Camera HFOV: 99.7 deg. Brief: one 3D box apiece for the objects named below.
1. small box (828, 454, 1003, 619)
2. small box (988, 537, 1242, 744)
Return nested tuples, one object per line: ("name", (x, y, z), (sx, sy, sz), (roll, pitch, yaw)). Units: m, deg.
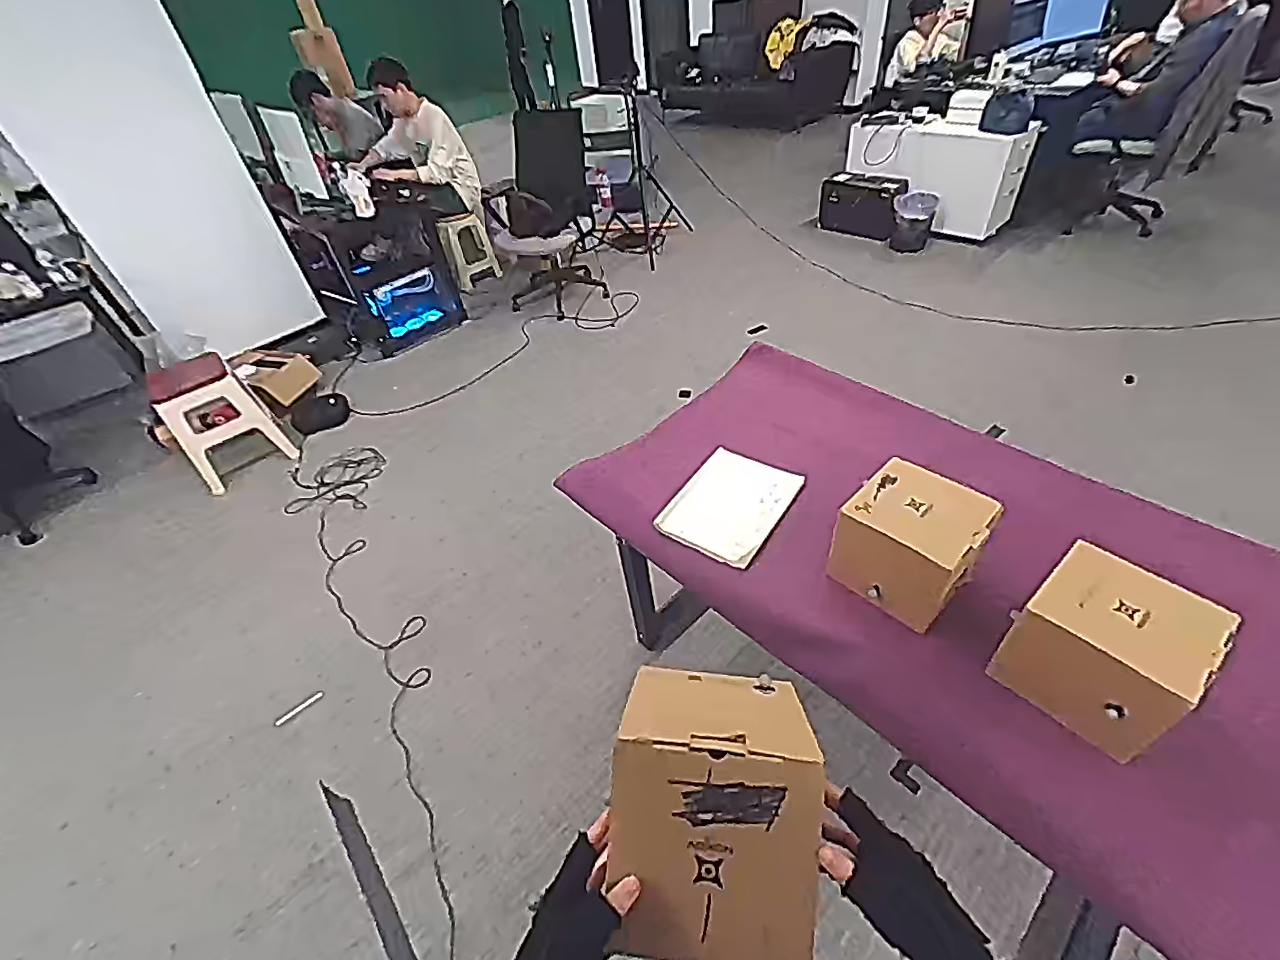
("small box", (0.430, 0.096, 0.870), (0.168, 0.176, 0.179), (-36, 51, -27))
("small box", (0.608, 0.216, 0.714), (0.168, 0.176, 0.179), (-32, 46, -25))
